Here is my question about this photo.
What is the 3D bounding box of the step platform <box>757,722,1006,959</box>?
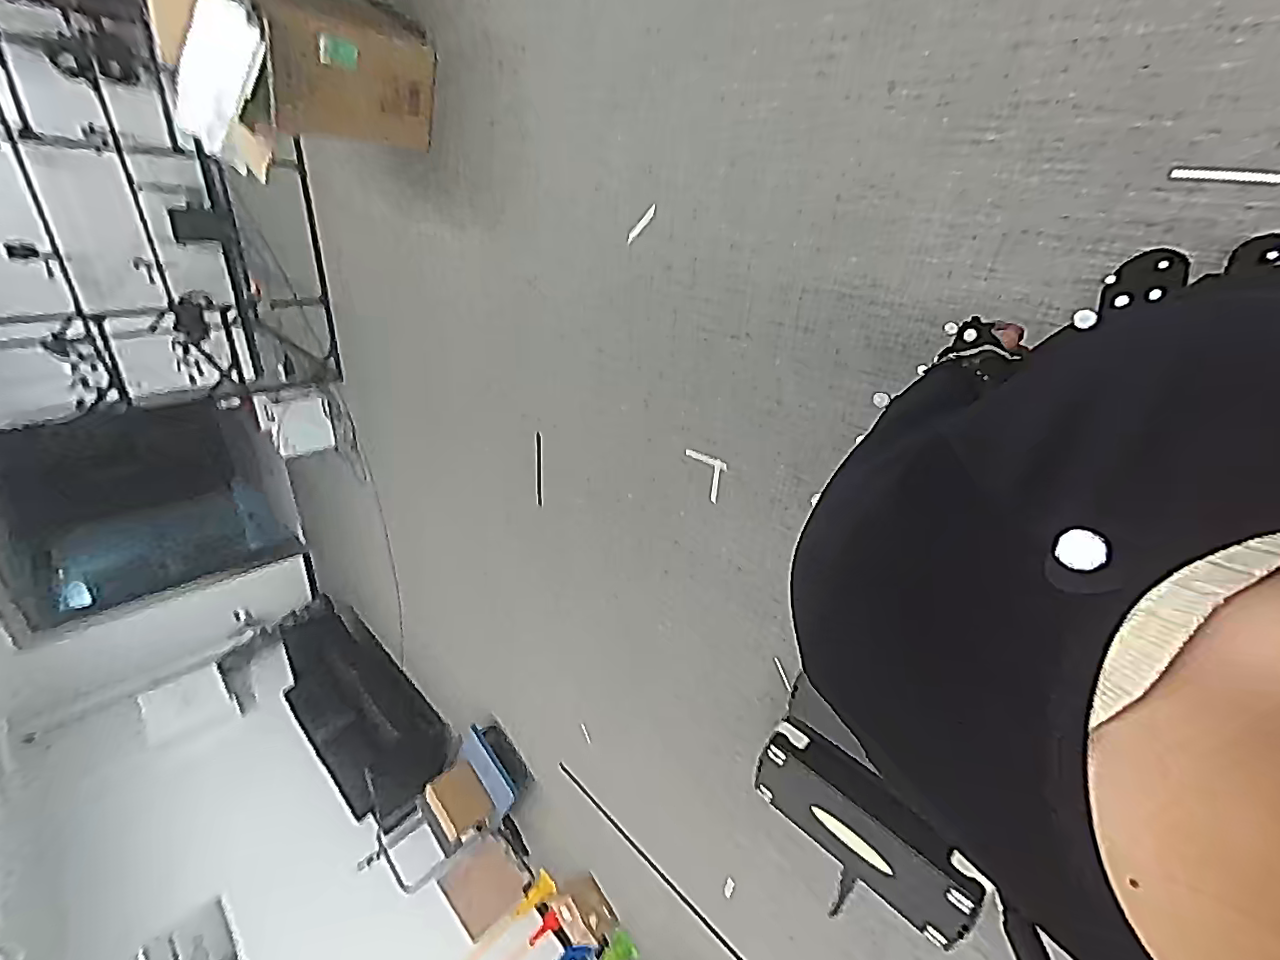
[{"bbox_3d":[0.694,1.099,1.655,0.684,0.204,0.286,34,127,35],"label":"step platform"}]
